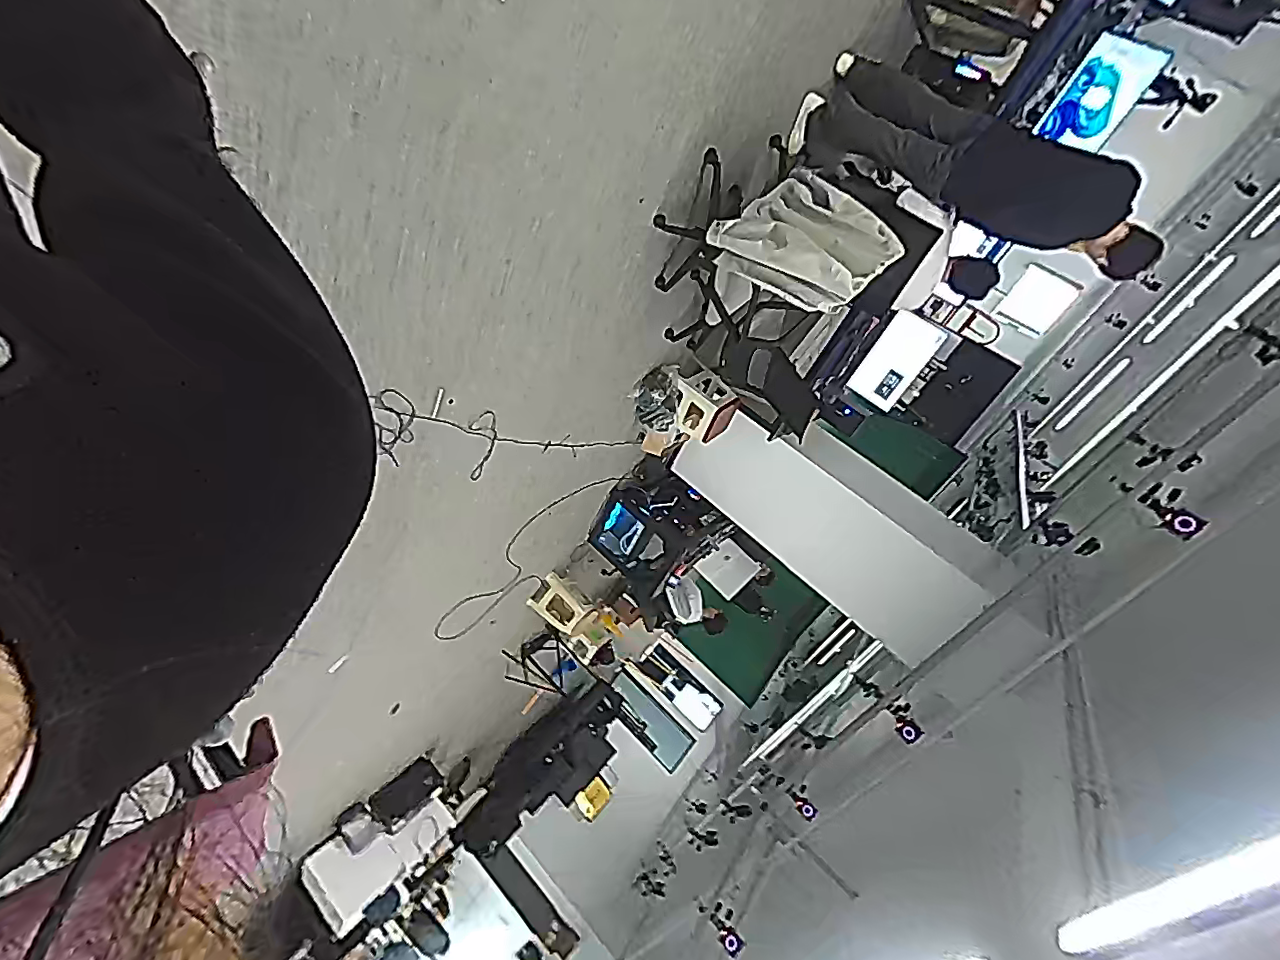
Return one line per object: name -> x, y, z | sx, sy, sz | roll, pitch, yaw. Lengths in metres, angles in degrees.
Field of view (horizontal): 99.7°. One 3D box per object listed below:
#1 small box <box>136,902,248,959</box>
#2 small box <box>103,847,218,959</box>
small box -> -1.048, 1.144, 1.268 | 0.168, 0.176, 0.179 | -26, 152, -48
small box -> -1.167, 1.048, 1.323 | 0.168, 0.176, 0.179 | -26, 151, -50
